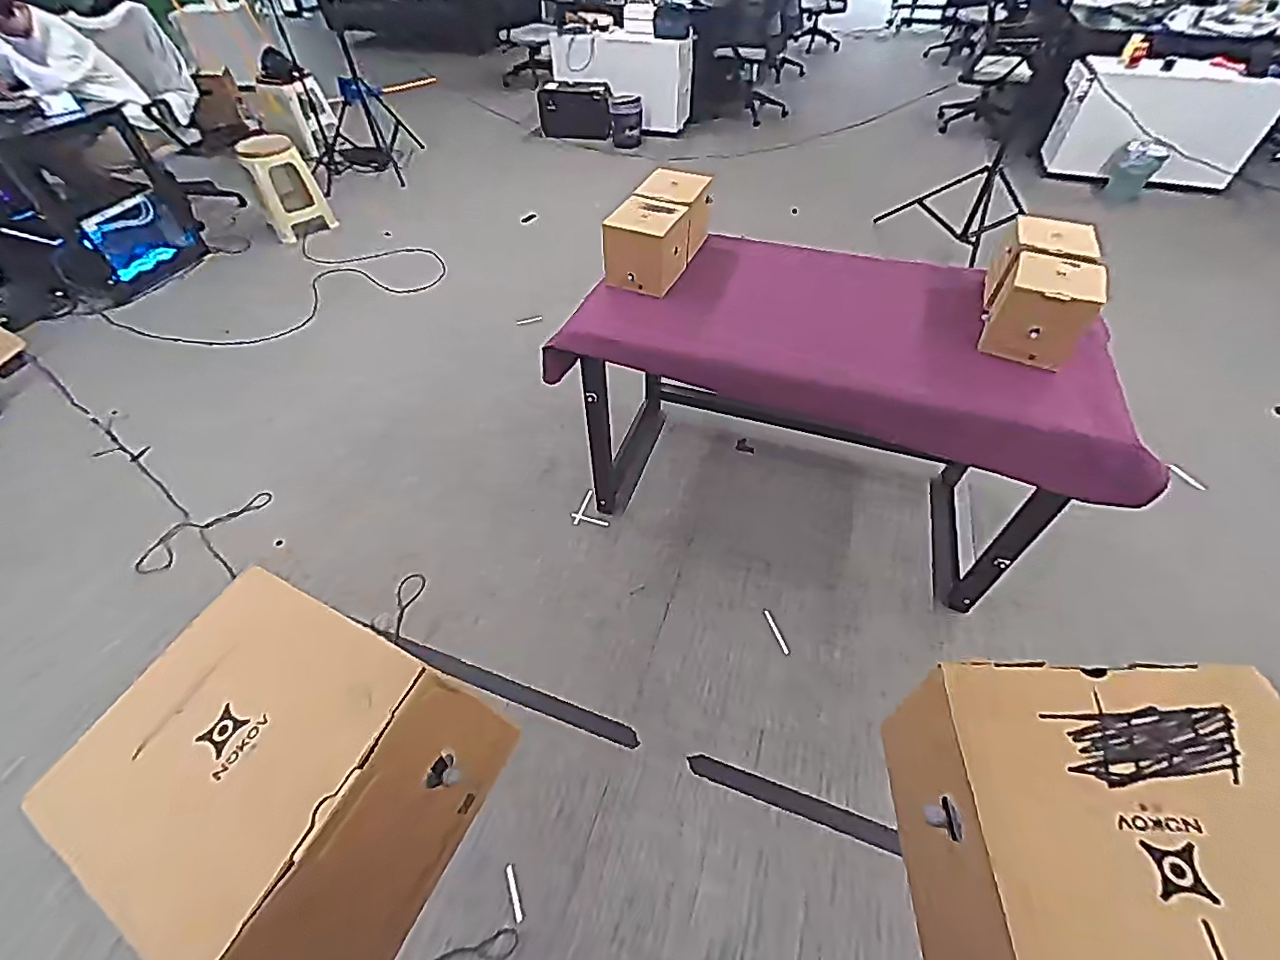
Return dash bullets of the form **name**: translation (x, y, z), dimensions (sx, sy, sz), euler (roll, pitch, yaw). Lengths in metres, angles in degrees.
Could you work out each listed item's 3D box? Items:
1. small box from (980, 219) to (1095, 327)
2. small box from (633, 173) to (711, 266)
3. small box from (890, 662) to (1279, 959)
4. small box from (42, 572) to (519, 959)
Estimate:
- **small box**: translation (0.953, -0.502, 1.313), dimensions (0.168, 0.176, 0.179), euler (18, 51, 15)
- **small box**: translation (0.088, -0.733, 1.521), dimensions (0.168, 0.176, 0.179), euler (18, 53, 16)
- **small box**: translation (0.267, 0.223, 0.324), dimensions (0.168, 0.176, 0.179), euler (-3, 54, 8)
- **small box**: translation (-0.213, 0.196, 0.372), dimensions (0.179, 0.176, 0.168), euler (17, 57, 24)
